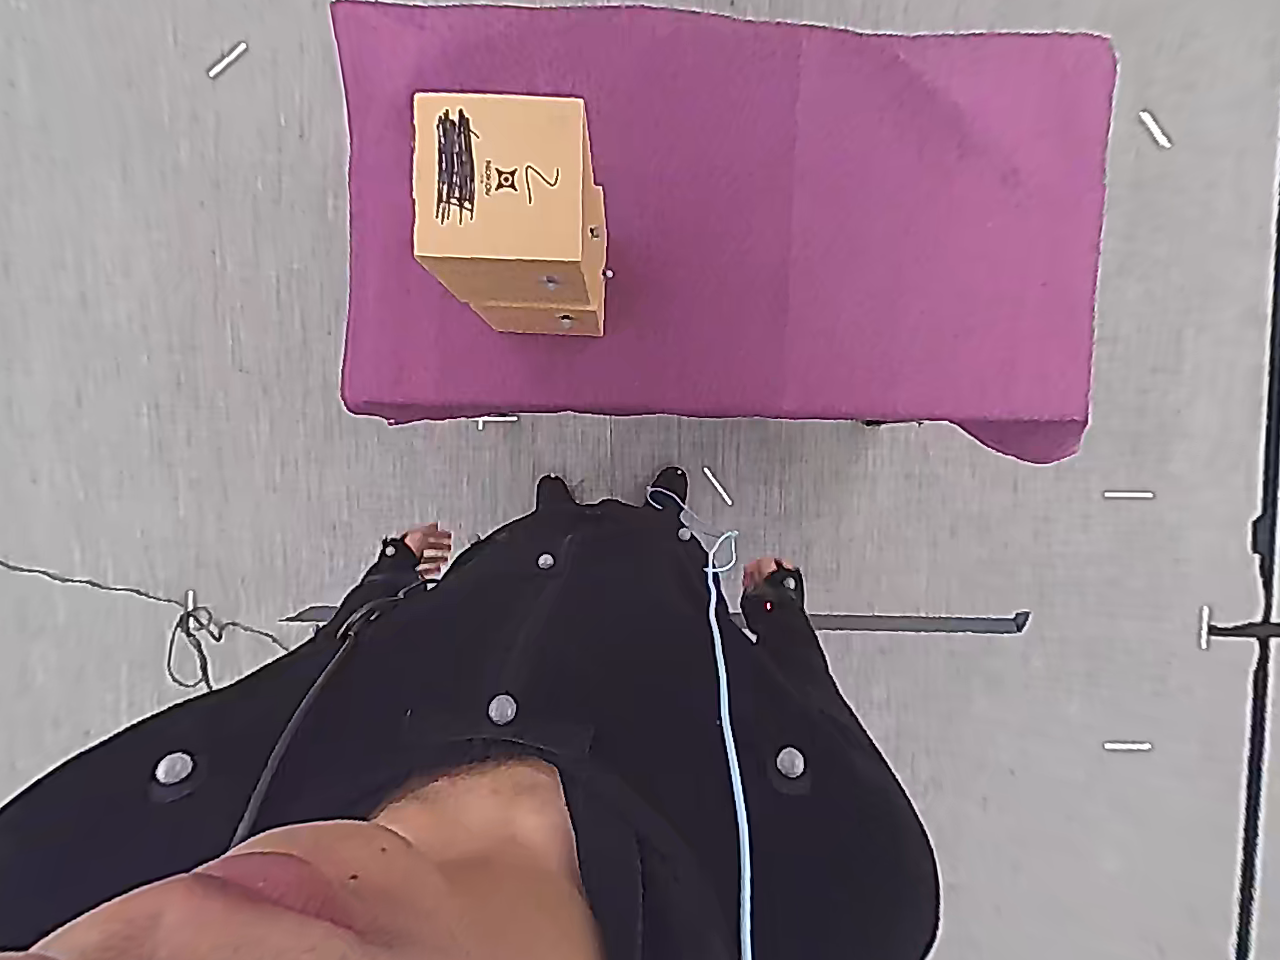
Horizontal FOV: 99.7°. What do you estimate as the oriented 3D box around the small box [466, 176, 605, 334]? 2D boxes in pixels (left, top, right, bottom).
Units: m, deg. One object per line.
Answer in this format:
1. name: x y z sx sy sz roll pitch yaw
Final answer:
1. small box: -0.143 -0.316 0.793 0.179 0.176 0.168 3 93 -2
